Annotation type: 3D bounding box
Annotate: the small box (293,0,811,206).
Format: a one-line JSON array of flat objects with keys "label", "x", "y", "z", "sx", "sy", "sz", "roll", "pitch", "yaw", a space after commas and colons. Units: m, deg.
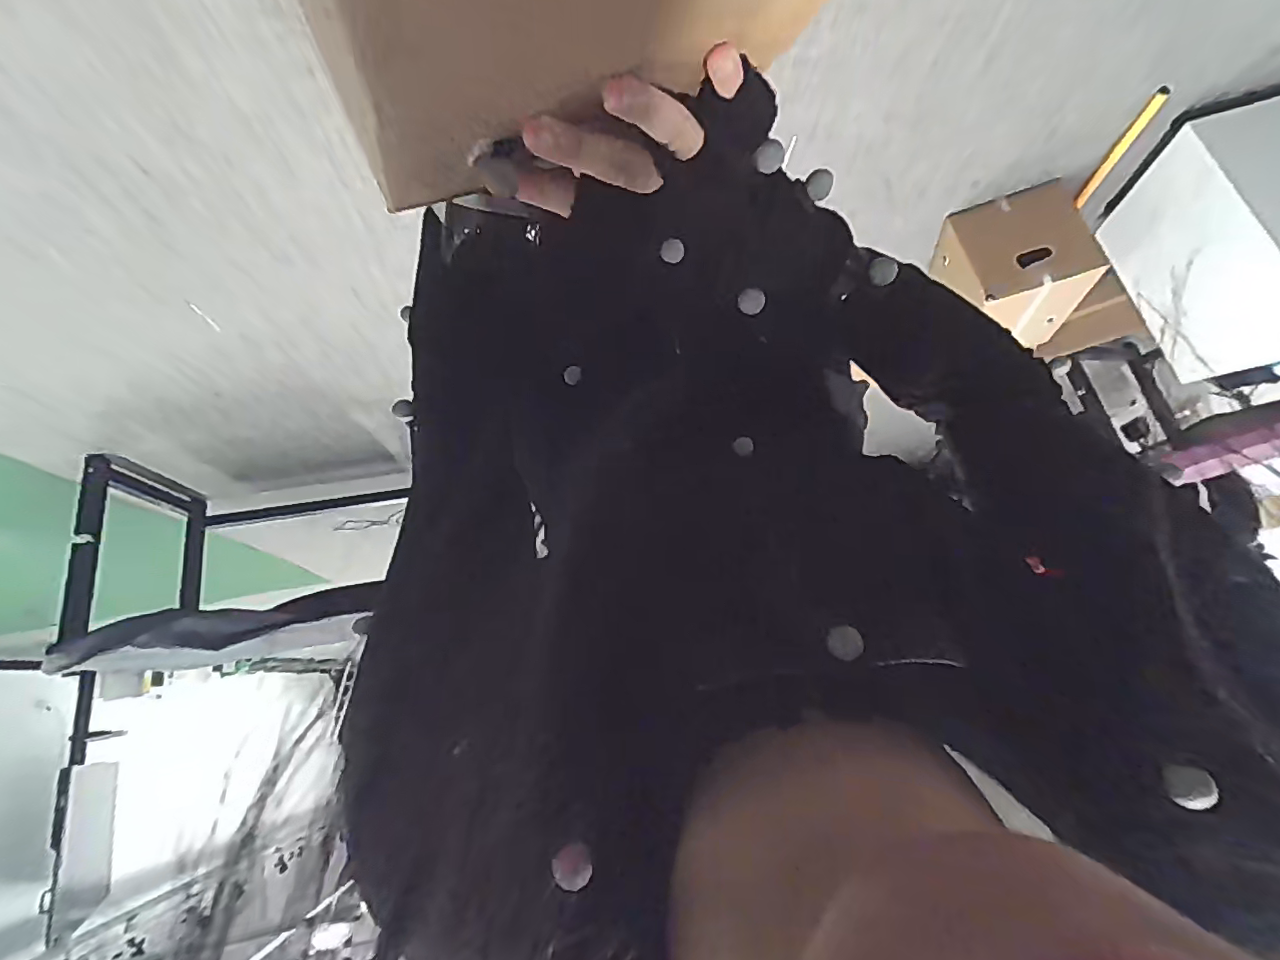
[{"label": "small box", "x": -0.037, "y": -0.220, "z": 0.168, "sx": 0.179, "sy": 0.168, "sz": 0.176, "roll": -26, "pitch": -164, "yaw": -15}]
